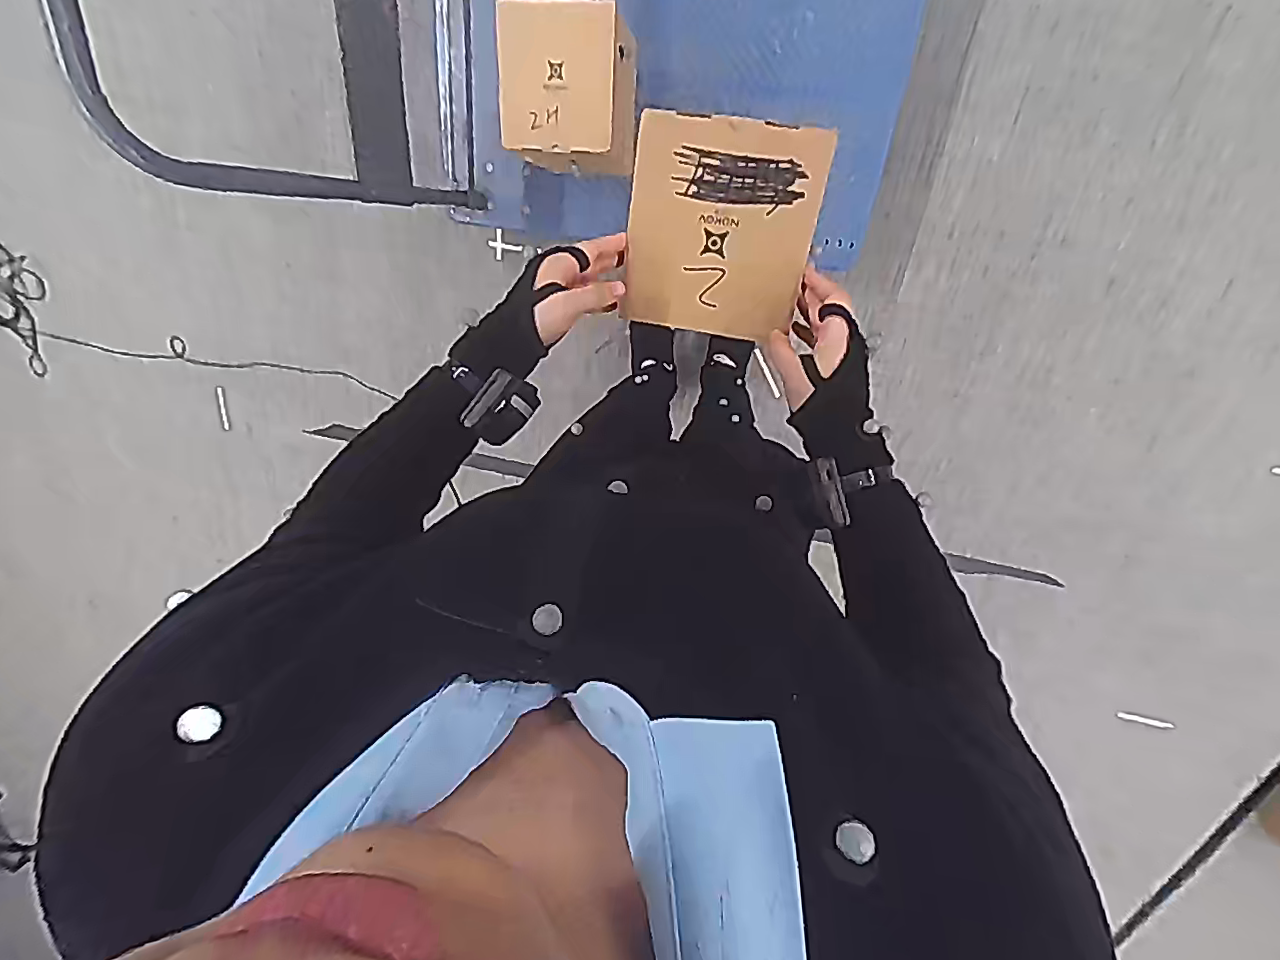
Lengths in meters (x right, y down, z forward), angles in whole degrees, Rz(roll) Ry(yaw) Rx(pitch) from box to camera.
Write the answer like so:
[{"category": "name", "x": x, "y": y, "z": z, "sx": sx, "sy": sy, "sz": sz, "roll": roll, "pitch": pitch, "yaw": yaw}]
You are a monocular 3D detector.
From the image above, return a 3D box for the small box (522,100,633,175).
[{"category": "small box", "x": -0.107, "y": -0.657, "z": 0.966, "sx": 0.168, "sy": 0.176, "sz": 0.179, "roll": 6, "pitch": 115, "yaw": 7}]

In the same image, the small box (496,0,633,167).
[{"category": "small box", "x": -0.106, "y": -0.586, "z": 0.815, "sx": 0.168, "sy": 0.176, "sz": 0.179, "roll": 7, "pitch": 116, "yaw": 7}]
